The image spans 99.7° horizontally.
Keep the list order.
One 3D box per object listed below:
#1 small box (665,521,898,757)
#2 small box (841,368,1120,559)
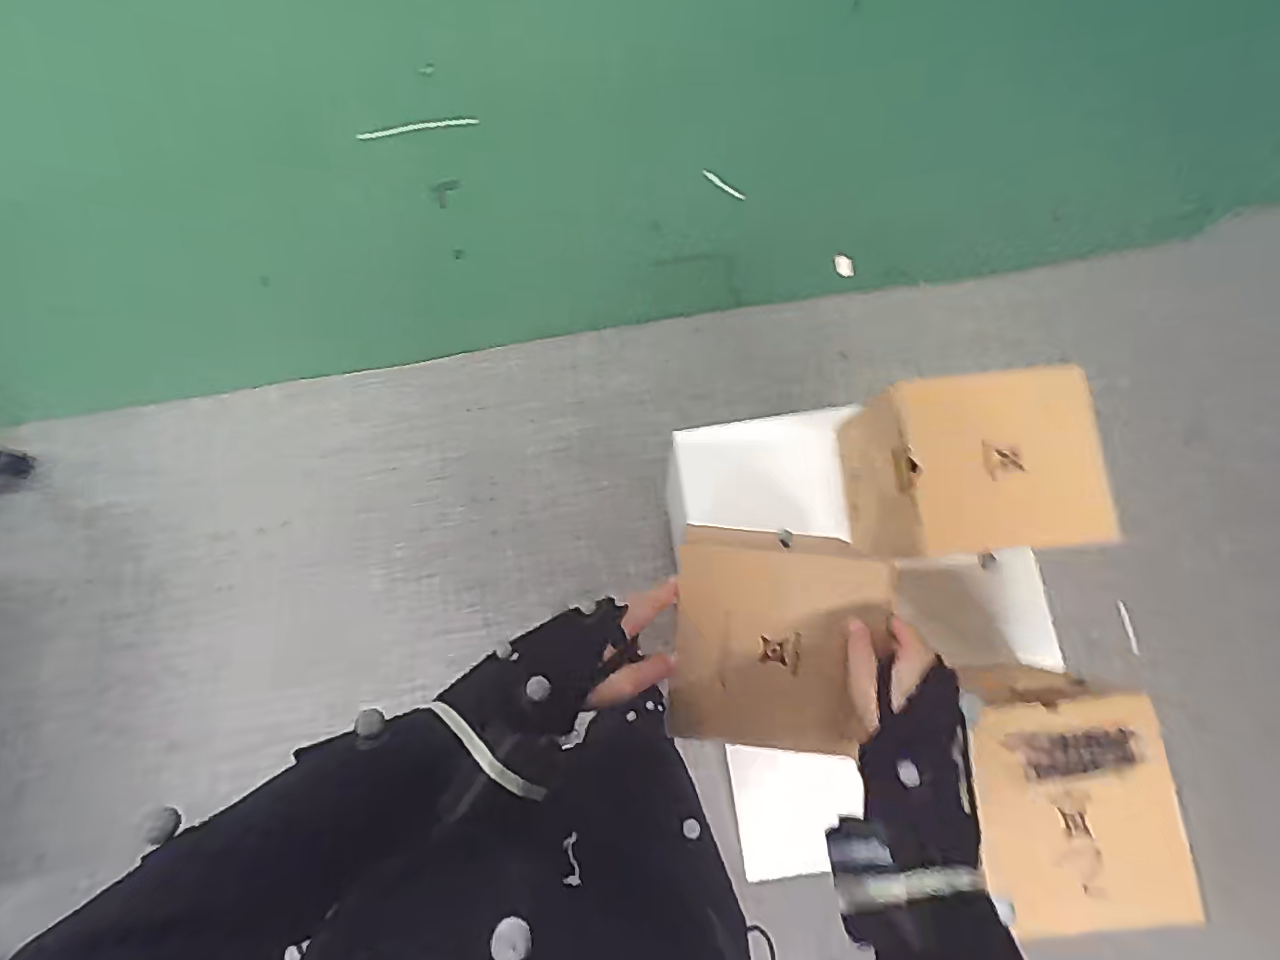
[{"bbox_3d":[0.120,0.134,0.520,0.179,0.176,0.168,5,92,5],"label":"small box"},{"bbox_3d":[0.335,-0.007,0.570,0.179,0.176,0.168,-5,81,1],"label":"small box"}]
